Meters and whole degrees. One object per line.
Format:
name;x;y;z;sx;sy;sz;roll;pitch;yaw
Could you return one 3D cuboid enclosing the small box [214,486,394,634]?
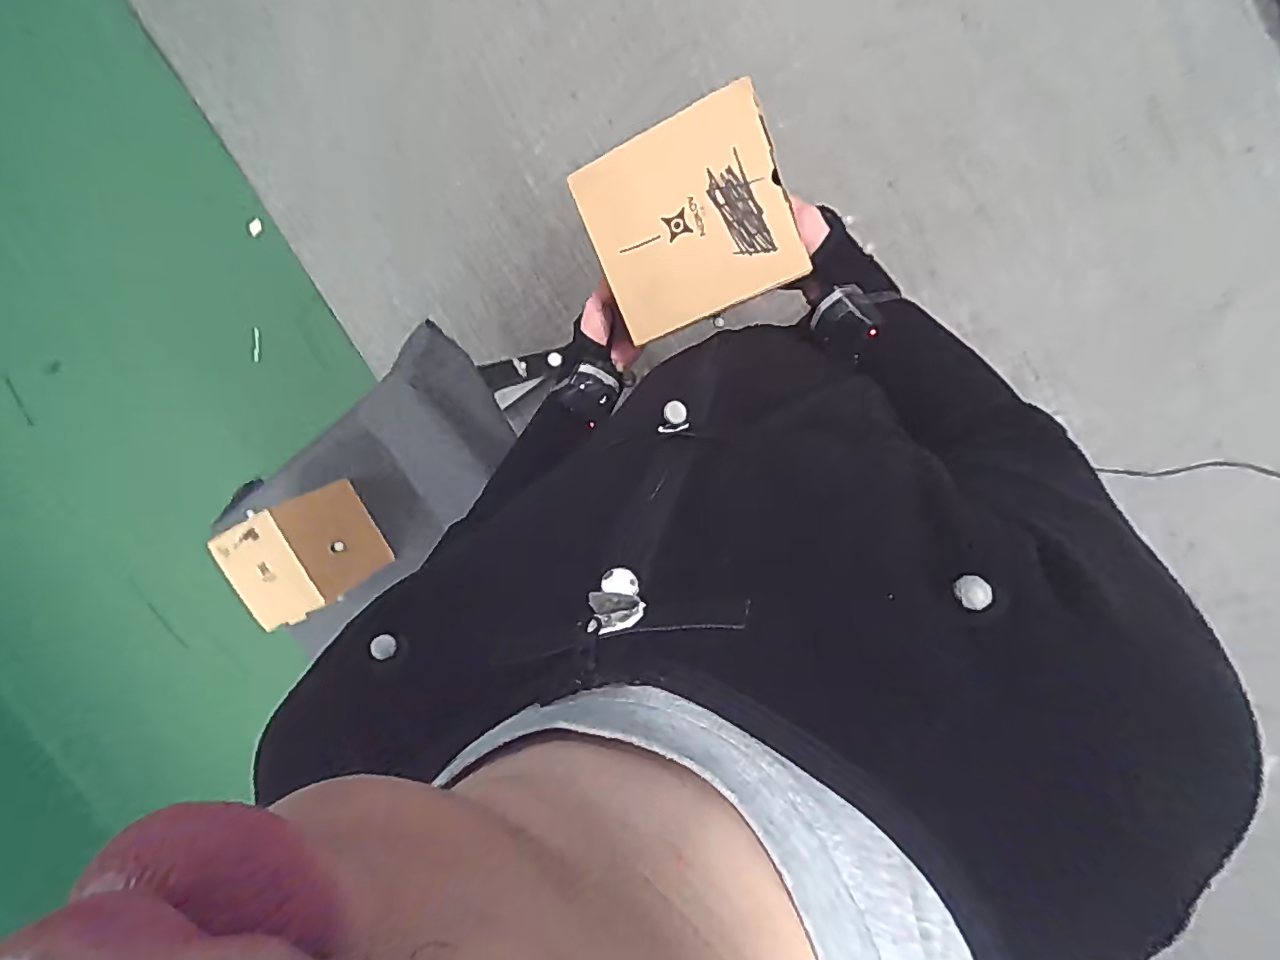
small box;-0.577;0.135;0.952;0.168;0.176;0.179;-24;100;20
